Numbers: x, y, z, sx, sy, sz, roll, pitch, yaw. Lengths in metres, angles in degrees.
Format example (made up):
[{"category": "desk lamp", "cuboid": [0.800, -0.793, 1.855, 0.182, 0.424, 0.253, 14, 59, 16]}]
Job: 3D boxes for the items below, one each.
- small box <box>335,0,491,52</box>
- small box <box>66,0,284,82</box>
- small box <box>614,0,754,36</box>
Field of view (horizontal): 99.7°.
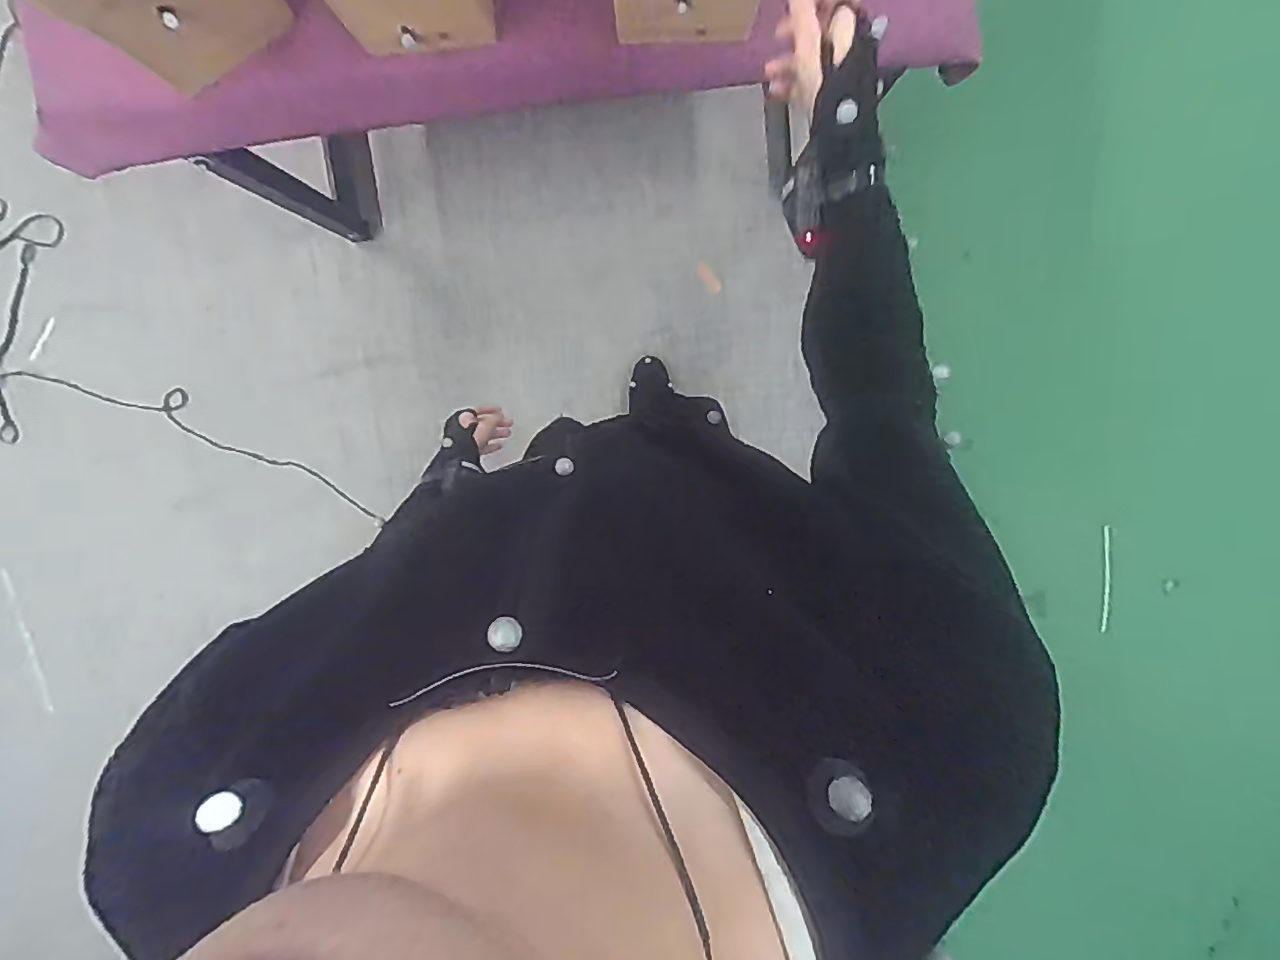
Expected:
[{"category": "small box", "cuboid": [-0.273, -0.620, 0.591, 0.168, 0.176, 0.179, -4, 98, 2]}, {"category": "small box", "cuboid": [-0.553, -0.598, 0.597, 0.179, 0.176, 0.168, -30, 97, 5]}, {"category": "small box", "cuboid": [0.051, -0.624, 0.584, 0.168, 0.176, 0.179, 0, 99, 0]}]
